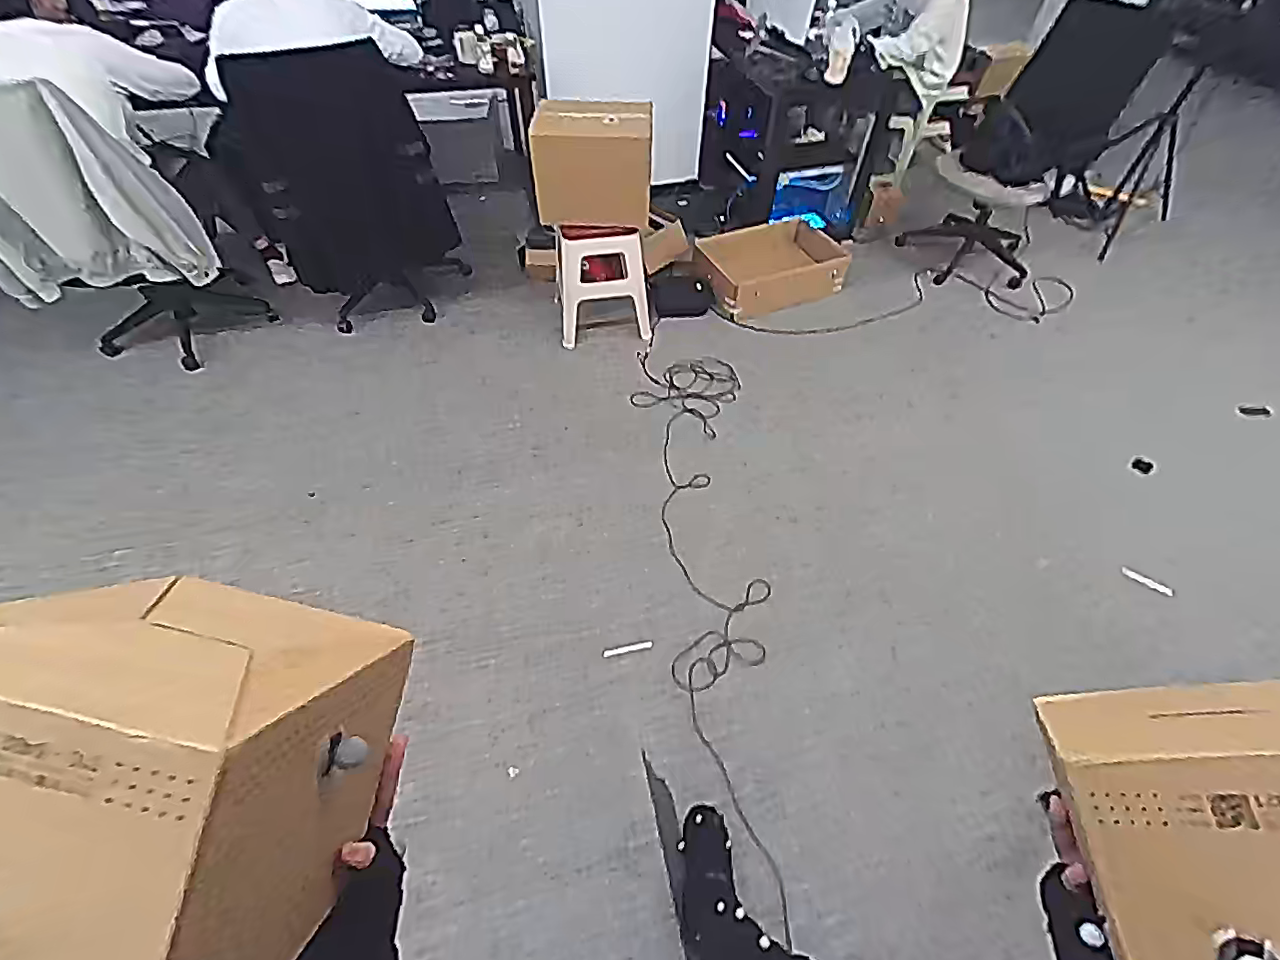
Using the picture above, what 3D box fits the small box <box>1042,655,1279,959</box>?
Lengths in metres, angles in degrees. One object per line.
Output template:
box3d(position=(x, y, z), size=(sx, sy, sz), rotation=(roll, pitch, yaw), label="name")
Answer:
box3d(position=(0.349, 0.201, 0.296), size=(0.168, 0.179, 0.176), rotation=(-17, 74, 29), label="small box")

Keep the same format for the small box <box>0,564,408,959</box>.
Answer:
box3d(position=(-0.243, 0.144, 0.265), size=(0.168, 0.179, 0.176), rotation=(14, 87, 0), label="small box")
